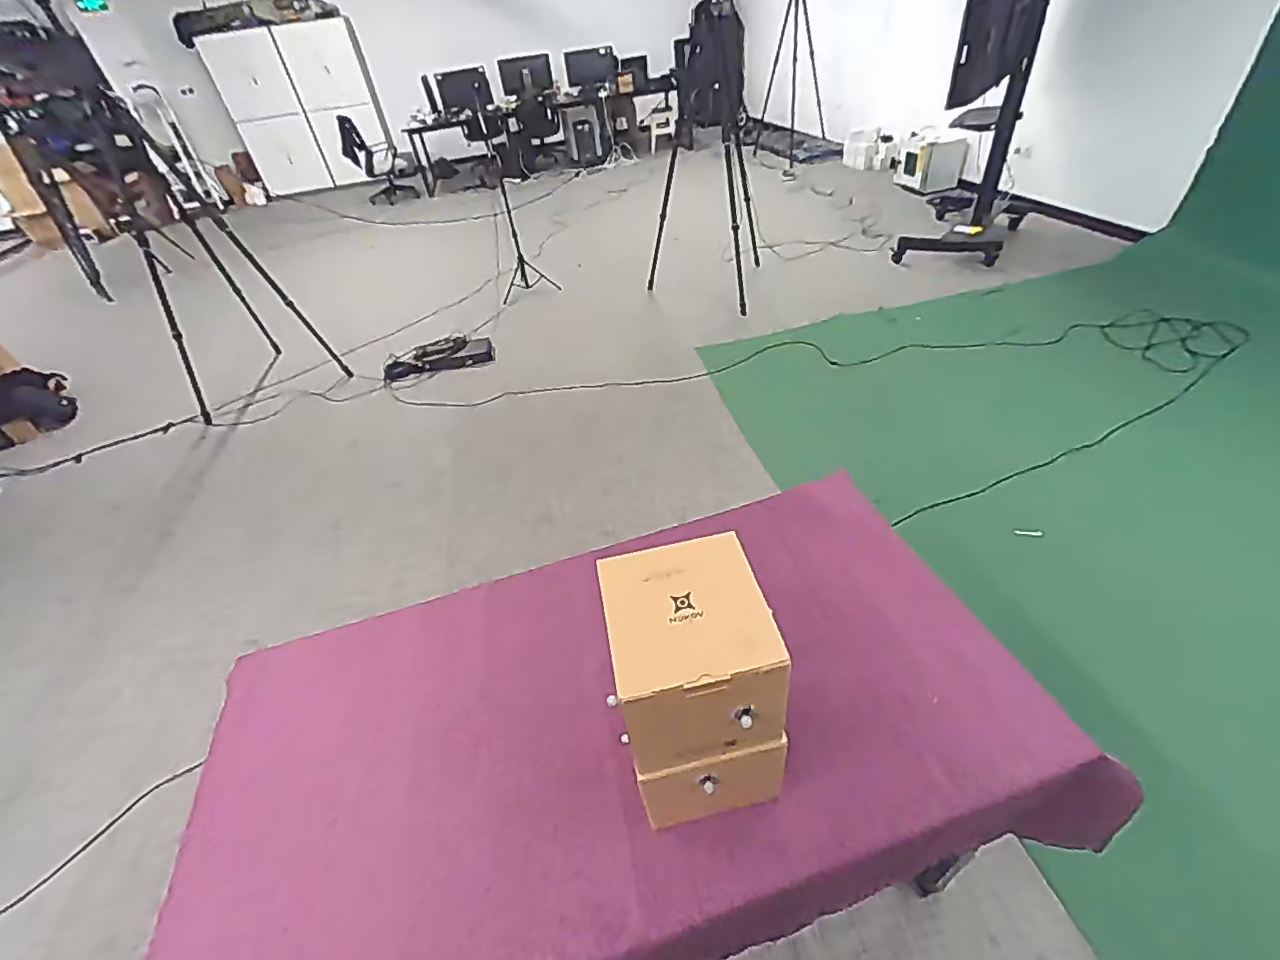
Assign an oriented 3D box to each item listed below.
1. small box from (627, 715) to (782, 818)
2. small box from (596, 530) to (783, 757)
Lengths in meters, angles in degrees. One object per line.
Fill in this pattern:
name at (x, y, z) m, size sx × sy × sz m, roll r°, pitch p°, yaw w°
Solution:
small box at (0.076, 0.316, 0.713) m, size 0.179 × 0.176 × 0.168 m, roll -13°, pitch 42°, yaw -3°
small box at (0.053, 0.189, 0.613) m, size 0.168 × 0.176 × 0.179 m, roll -12°, pitch 40°, yaw -3°
